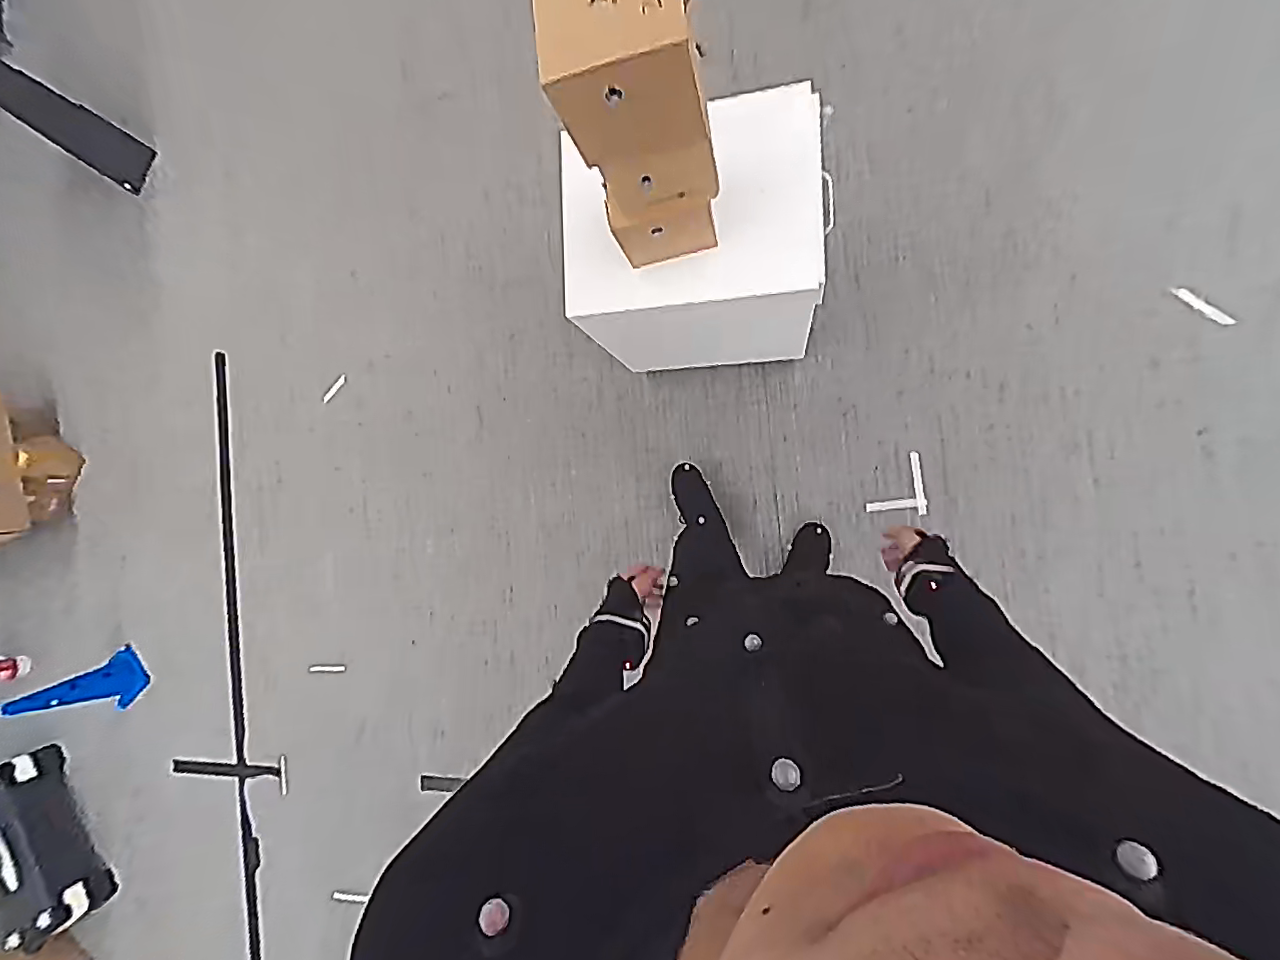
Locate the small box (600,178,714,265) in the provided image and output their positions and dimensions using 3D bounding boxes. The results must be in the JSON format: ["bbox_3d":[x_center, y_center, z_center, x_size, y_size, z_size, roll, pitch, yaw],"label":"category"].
[{"bbox_3d":[0.033,-0.523,1.002,0.179,0.176,0.168,-10,87,13],"label":"small box"}]

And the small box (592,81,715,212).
[{"bbox_3d":[0.018,-0.546,0.840,0.168,0.176,0.179,-9,86,13],"label":"small box"}]

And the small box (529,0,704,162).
[{"bbox_3d":[-0.023,-0.537,0.679,0.179,0.176,0.168,-6,87,14],"label":"small box"}]
